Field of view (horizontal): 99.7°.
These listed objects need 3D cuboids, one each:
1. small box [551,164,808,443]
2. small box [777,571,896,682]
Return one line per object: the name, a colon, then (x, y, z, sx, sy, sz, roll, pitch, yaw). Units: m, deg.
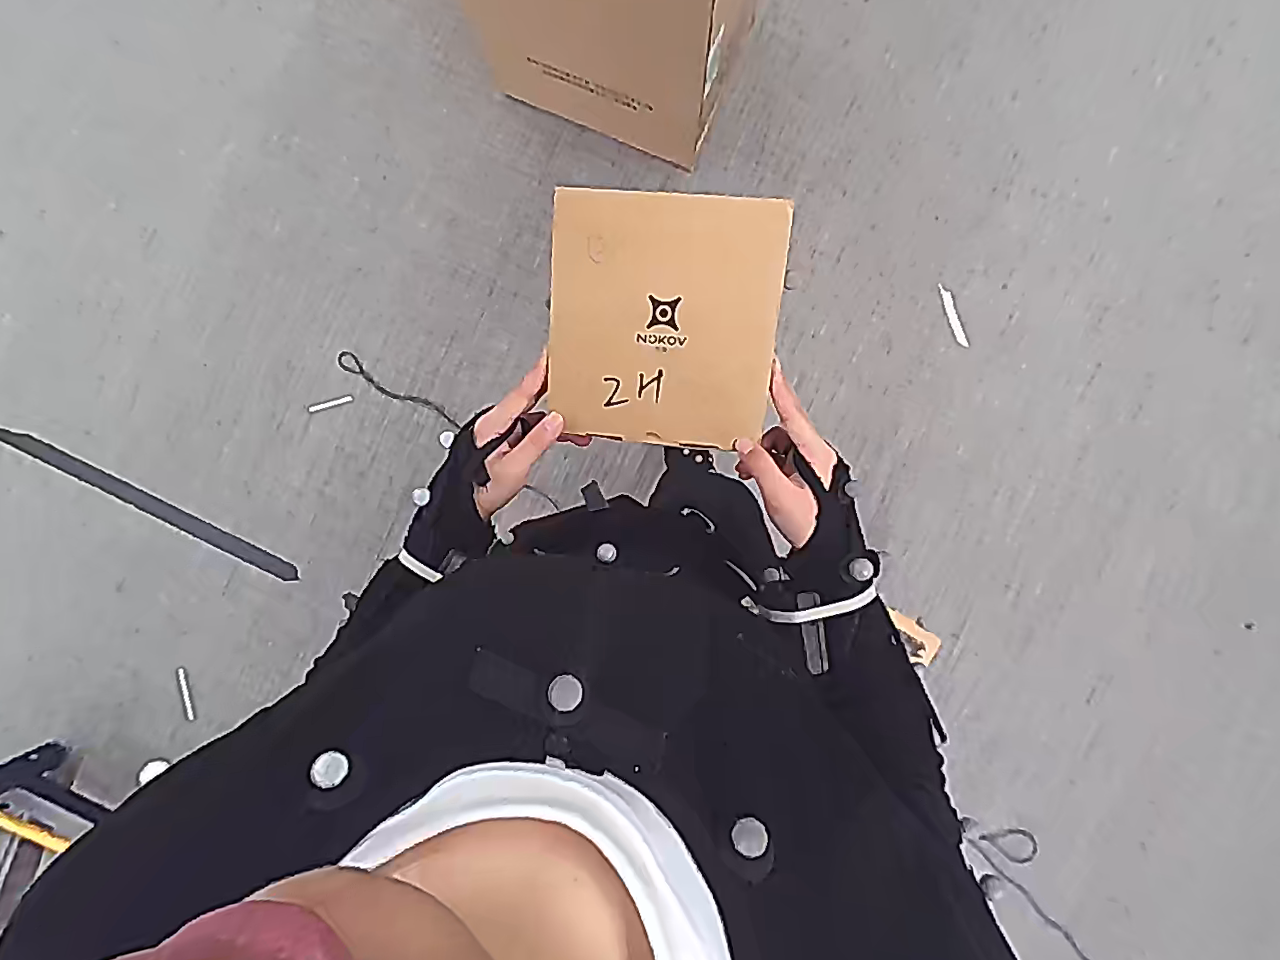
small box: (0.031, -0.139, 0.455, 0.168, 0.176, 0.179, 7, 105, 6)
small box: (0.449, 0.331, 1.264, 0.179, 0.176, 0.168, 32, 91, 3)
